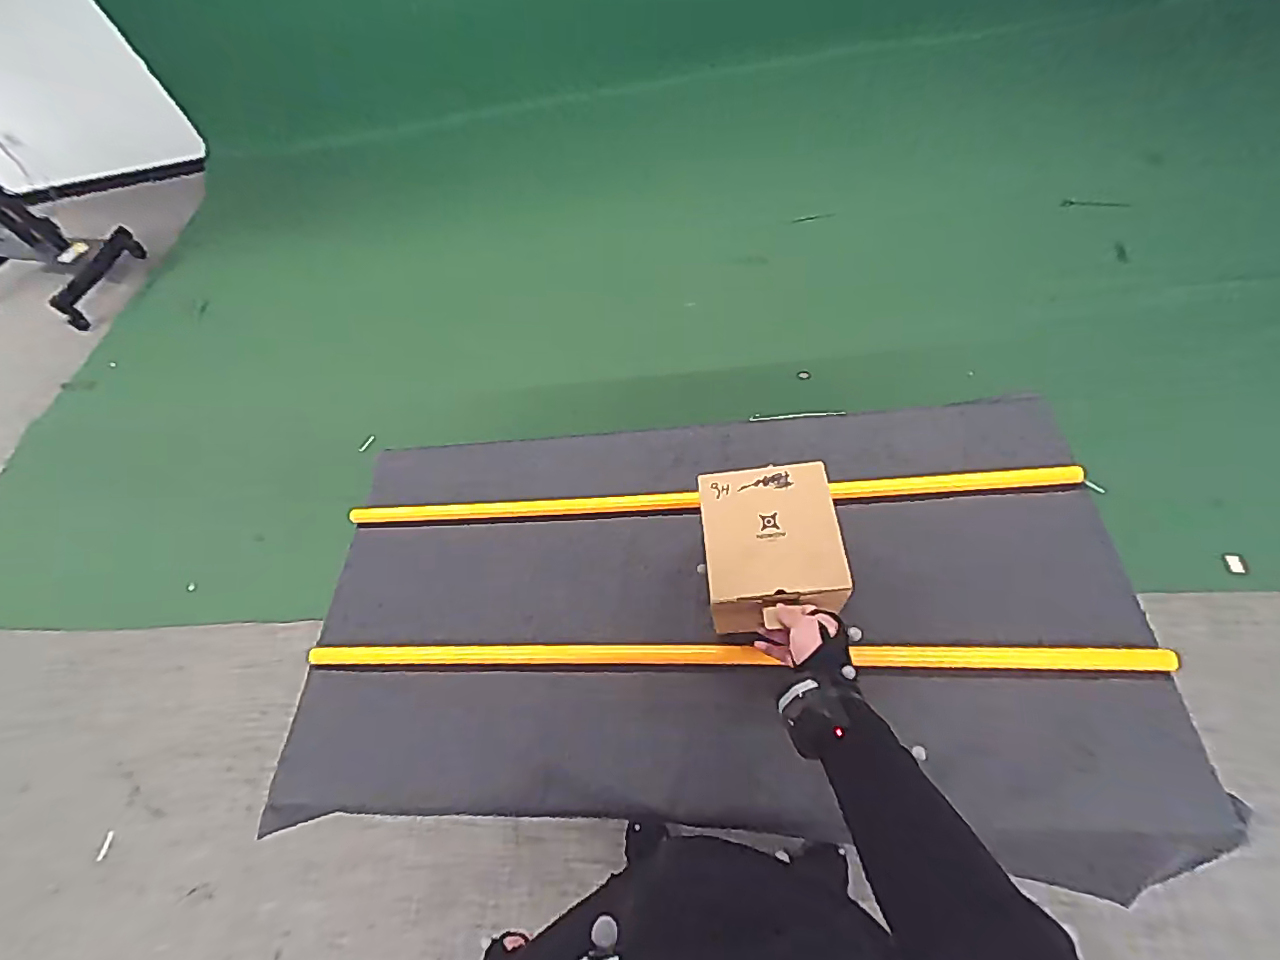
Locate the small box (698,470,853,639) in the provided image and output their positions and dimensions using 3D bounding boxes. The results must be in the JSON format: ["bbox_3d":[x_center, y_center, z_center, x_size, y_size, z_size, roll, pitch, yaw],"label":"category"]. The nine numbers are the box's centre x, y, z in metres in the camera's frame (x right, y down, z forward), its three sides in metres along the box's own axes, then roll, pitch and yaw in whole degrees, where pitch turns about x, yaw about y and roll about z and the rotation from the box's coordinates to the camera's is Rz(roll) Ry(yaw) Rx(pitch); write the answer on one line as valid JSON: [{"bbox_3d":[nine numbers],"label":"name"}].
[{"bbox_3d":[0.181,0.113,0.746,0.168,0.176,0.179,-10,59,8],"label":"small box"}]
